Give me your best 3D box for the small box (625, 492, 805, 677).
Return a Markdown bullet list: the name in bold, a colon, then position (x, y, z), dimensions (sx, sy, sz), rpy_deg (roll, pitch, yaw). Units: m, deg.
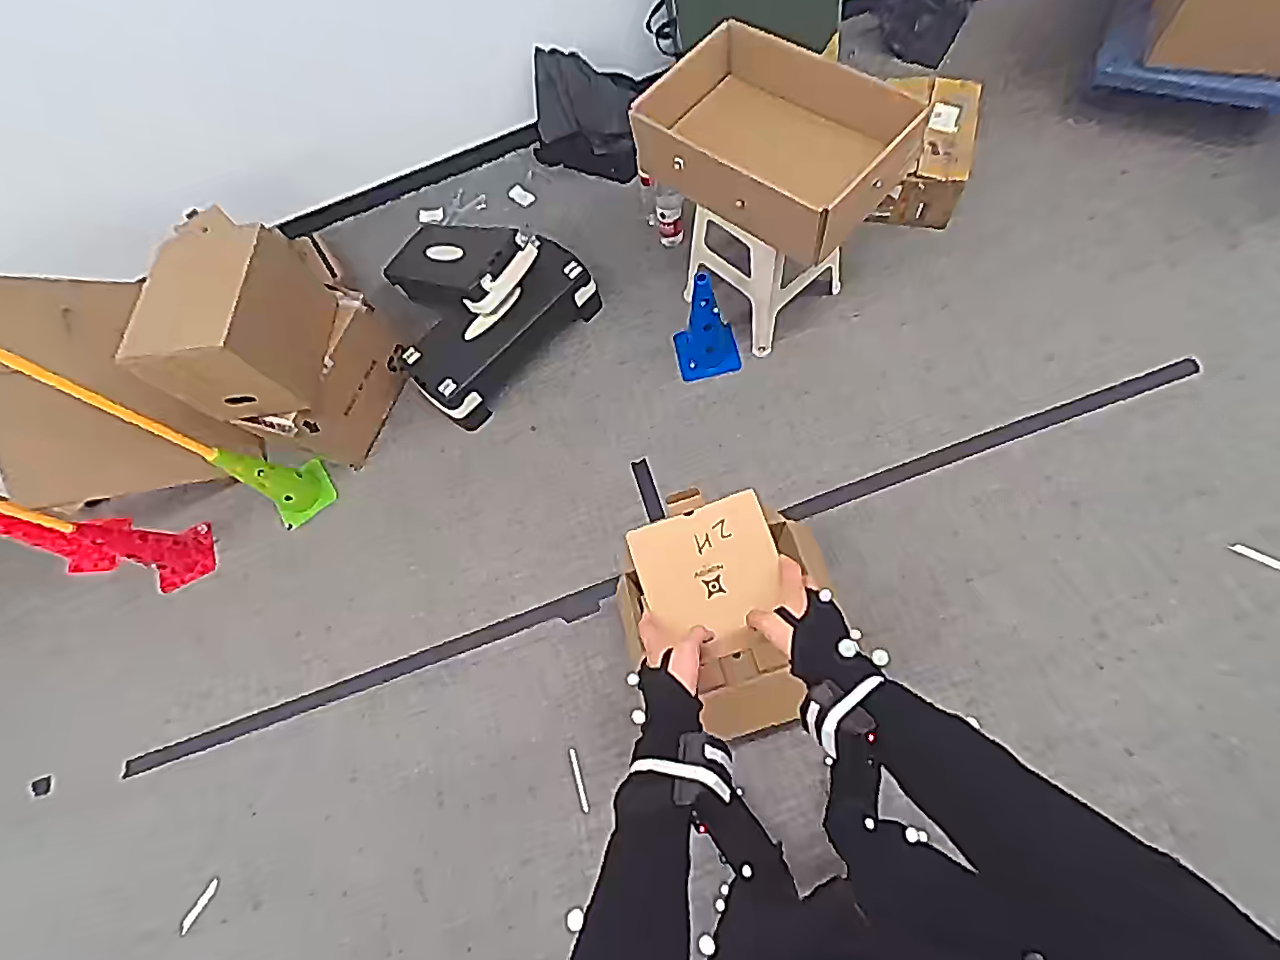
- **small box**: position (0.097, 0.133, 0.702), dimensions (0.168, 0.176, 0.179), rpy_deg (-20, 76, 5)
